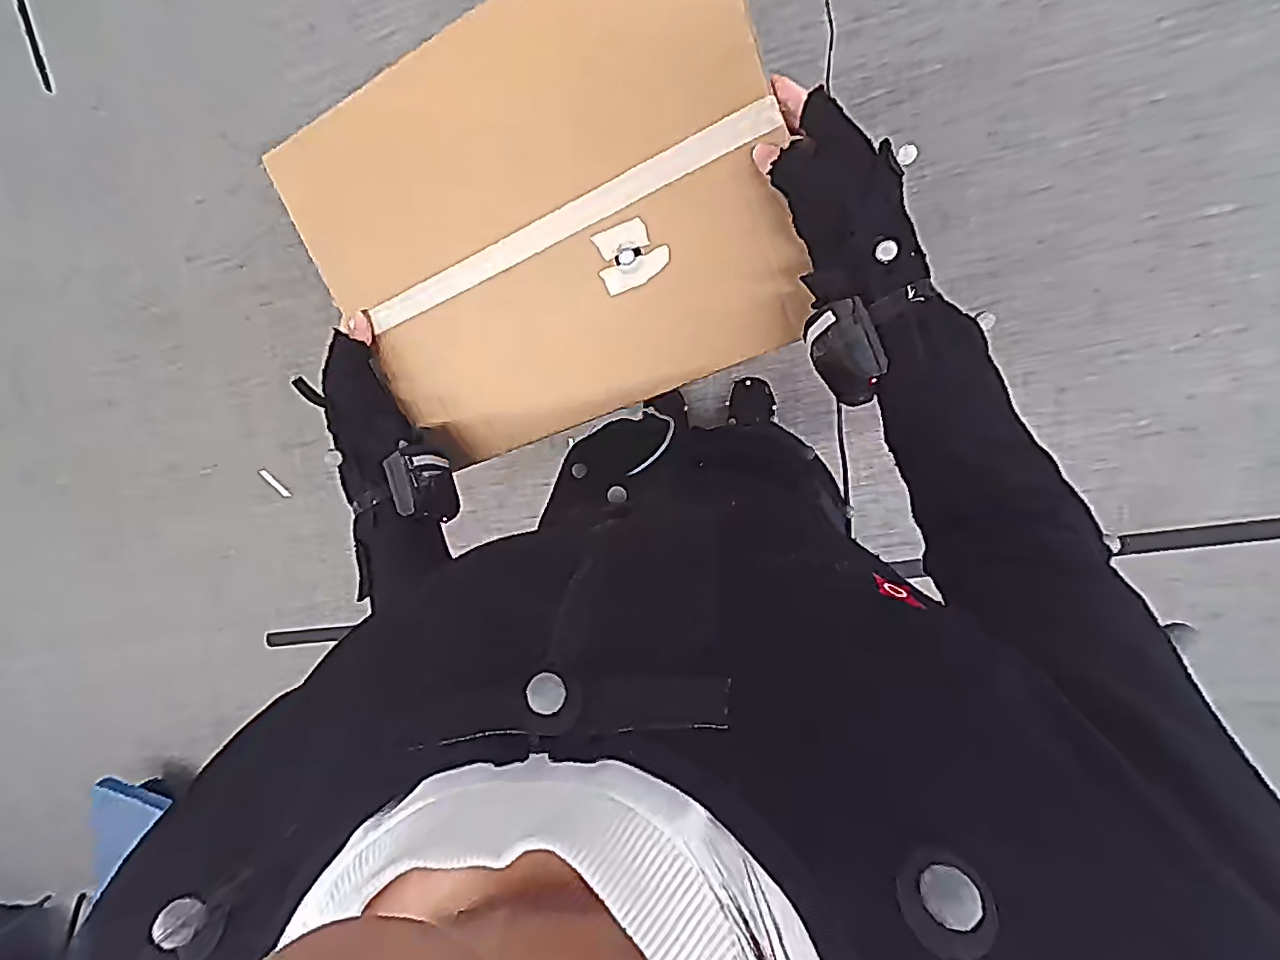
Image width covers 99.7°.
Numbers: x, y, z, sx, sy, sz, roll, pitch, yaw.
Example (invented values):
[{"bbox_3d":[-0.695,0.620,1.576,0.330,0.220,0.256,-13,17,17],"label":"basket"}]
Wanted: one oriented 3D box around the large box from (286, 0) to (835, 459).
[{"bbox_3d":[-0.052,-0.266,0.590,0.408,0.320,0.320,-19,106,17],"label":"large box"}]
